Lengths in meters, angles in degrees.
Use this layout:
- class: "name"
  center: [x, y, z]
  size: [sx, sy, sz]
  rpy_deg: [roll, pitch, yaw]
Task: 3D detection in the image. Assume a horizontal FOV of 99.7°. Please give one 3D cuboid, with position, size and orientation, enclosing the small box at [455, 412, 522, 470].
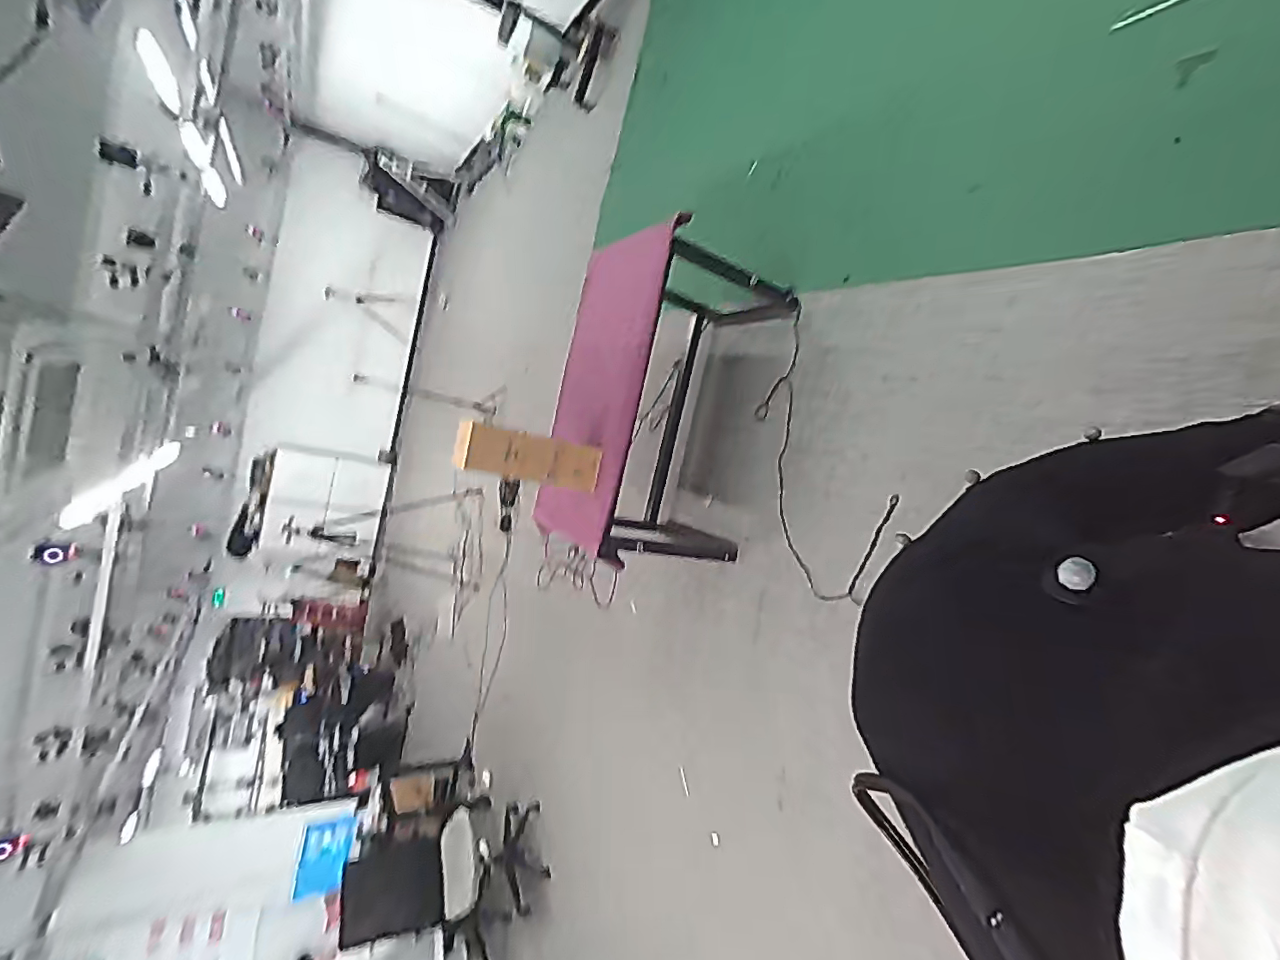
- class: "small box"
  center: [-0.526, -0.135, 1.877]
  size: [0.179, 0.176, 0.168]
  rpy_deg: [16, 95, 57]

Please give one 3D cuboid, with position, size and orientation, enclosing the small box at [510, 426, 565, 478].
- class: "small box"
  center: [-0.387, -0.105, 1.958]
  size: [0.179, 0.176, 0.168]
  rpy_deg: [16, 94, 58]

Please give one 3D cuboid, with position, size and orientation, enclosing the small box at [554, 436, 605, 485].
- class: "small box"
  center: [-0.252, -0.079, 2.048]
  size: [0.179, 0.176, 0.168]
  rpy_deg: [14, 93, 58]
